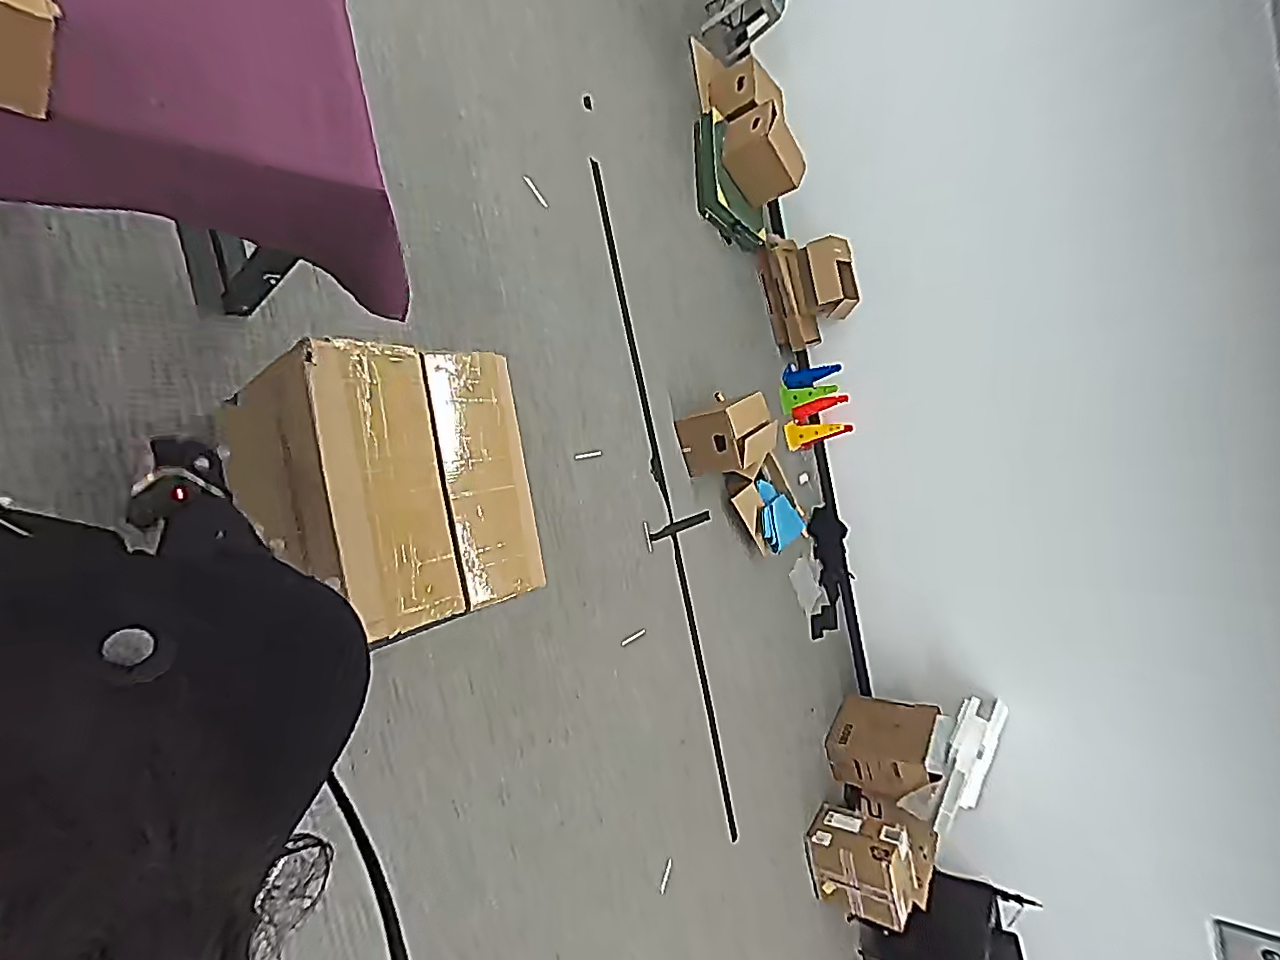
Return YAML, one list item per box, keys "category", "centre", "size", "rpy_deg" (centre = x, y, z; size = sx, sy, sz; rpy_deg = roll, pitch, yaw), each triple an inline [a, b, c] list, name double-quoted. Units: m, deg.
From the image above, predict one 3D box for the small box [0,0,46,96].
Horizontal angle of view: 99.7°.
- category: "small box"
  centre: [-0.678, -0.494, 0.485]
  size: [0.179, 0.176, 0.168]
  rpy_deg: [-7, 88, -51]
